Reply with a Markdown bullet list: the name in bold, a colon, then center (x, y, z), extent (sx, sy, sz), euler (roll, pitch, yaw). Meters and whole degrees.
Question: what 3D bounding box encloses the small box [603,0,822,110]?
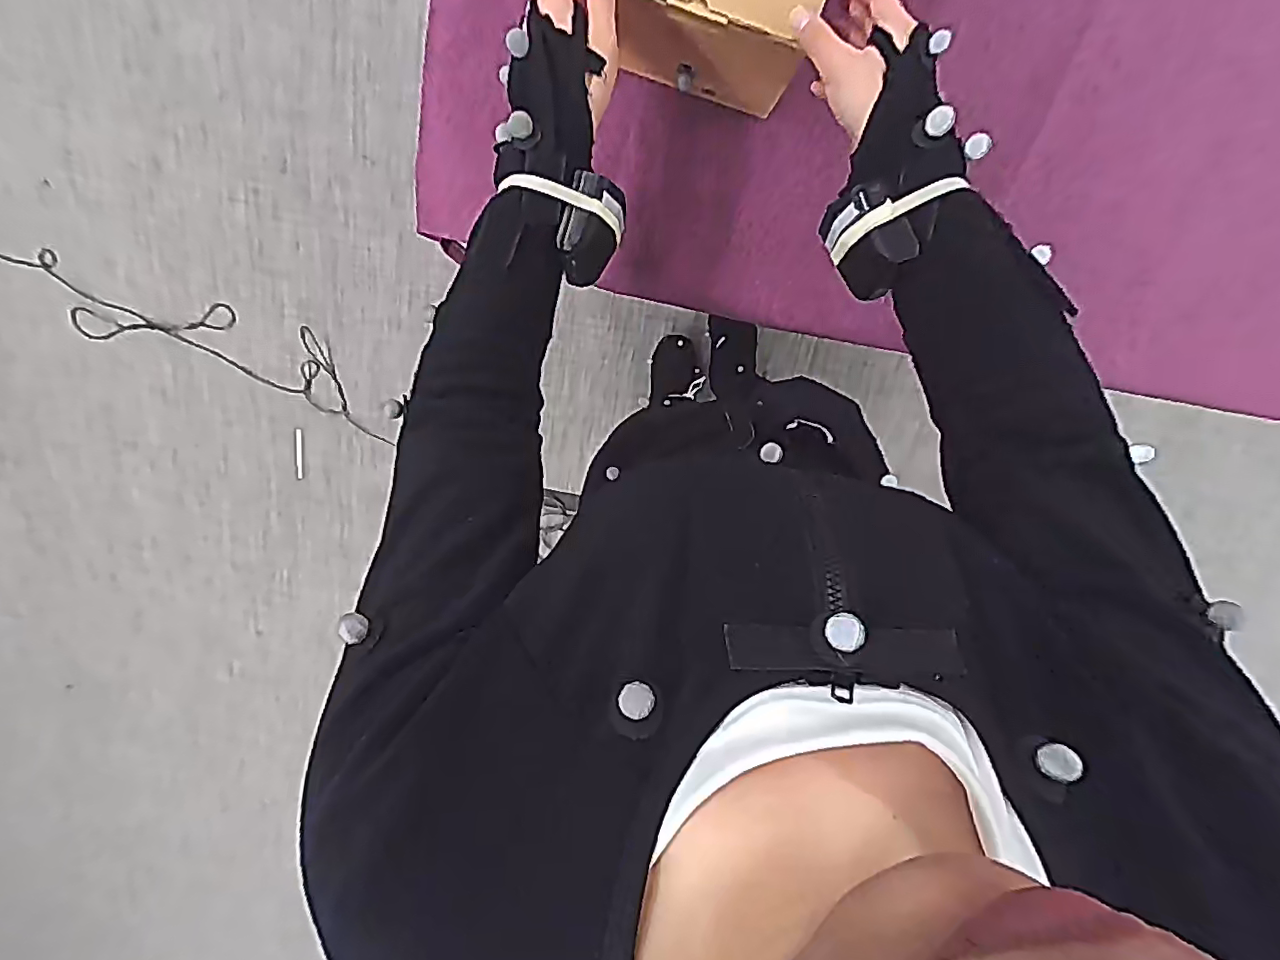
- **small box**: center (0.066, -0.431, 0.418), extent (0.168, 0.176, 0.179), euler (17, 109, -4)
